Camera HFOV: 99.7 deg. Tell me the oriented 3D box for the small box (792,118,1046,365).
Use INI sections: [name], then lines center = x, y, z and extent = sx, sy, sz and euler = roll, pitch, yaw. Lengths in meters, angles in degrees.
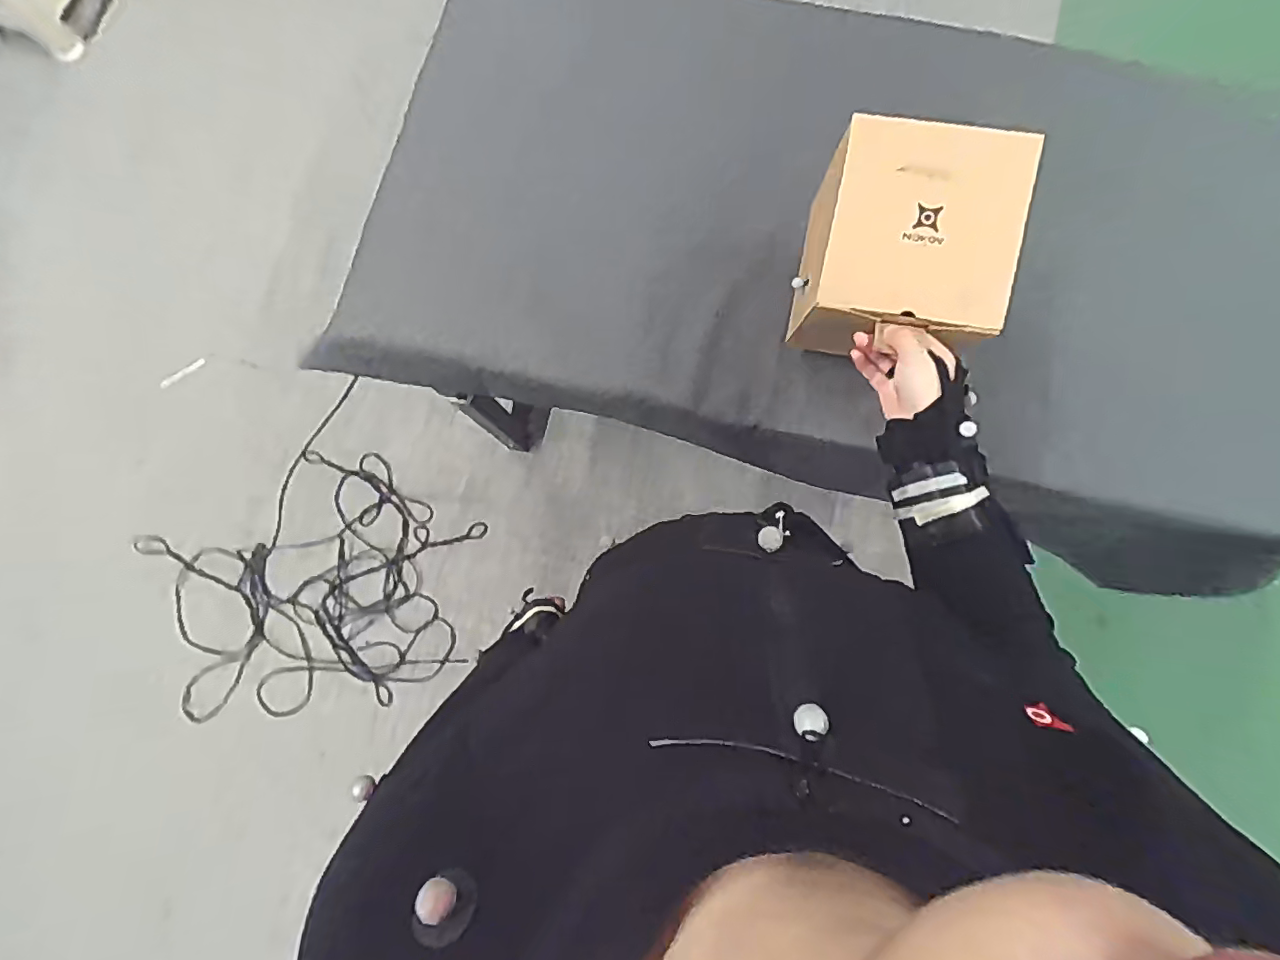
[small box]
center = 0.262, -0.224, 0.555
extent = 0.168, 0.176, 0.179
euler = 10, 93, 4
